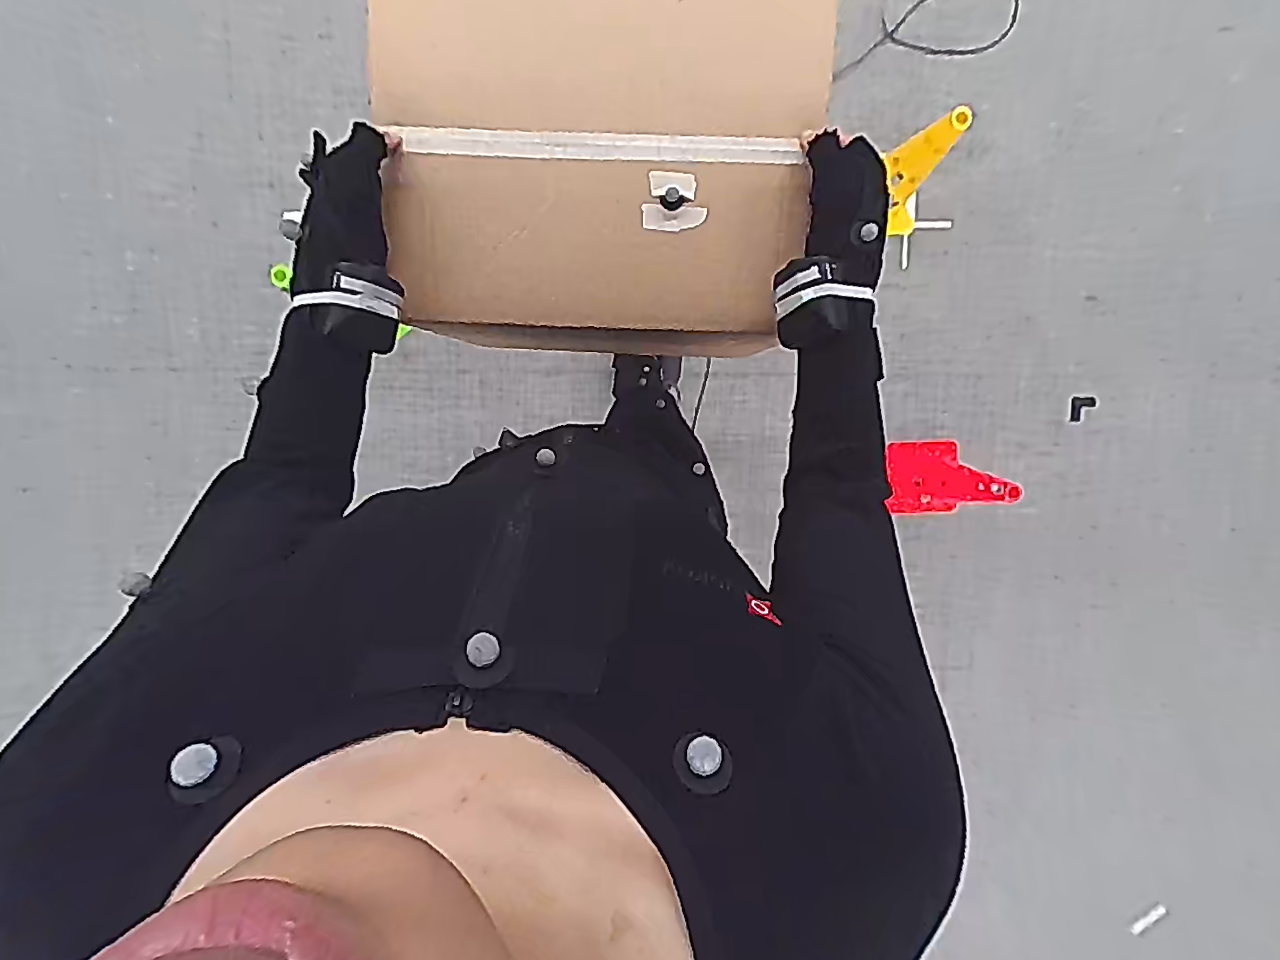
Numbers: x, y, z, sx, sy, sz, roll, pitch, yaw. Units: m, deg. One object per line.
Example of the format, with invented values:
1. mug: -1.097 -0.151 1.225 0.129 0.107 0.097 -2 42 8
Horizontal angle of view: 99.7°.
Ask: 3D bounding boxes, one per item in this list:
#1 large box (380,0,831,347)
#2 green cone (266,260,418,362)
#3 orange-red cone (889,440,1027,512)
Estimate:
1. large box: -0.035 -0.330 0.638 0.408 0.320 0.320 2 99 -1
2. green cone: -0.699 -0.415 1.219 0.202 0.368 0.200 -36 95 4
3. orange-red cone: 0.778 0.004 1.296 0.198 0.360 0.199 -2 94 -2
